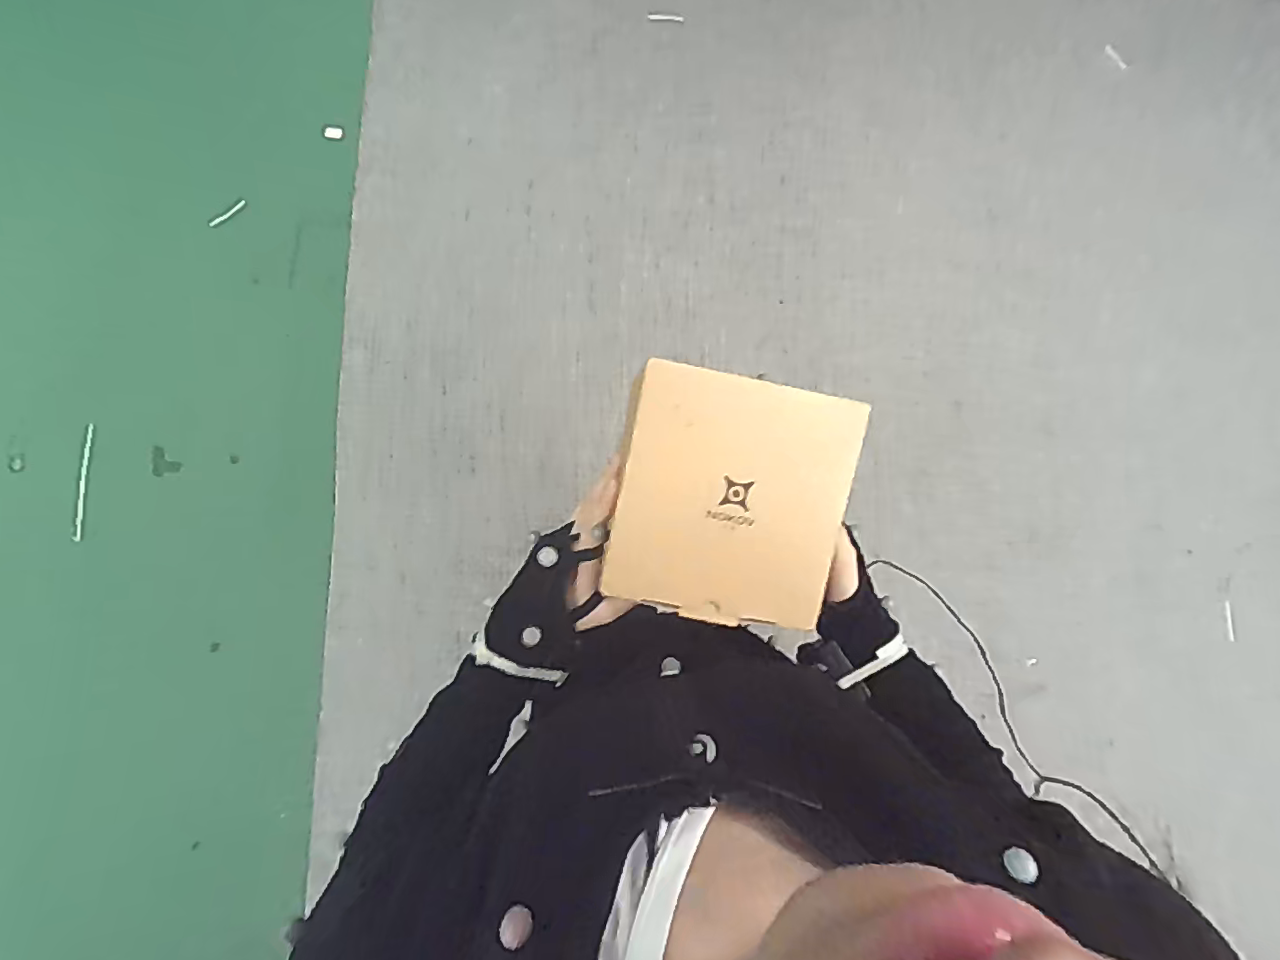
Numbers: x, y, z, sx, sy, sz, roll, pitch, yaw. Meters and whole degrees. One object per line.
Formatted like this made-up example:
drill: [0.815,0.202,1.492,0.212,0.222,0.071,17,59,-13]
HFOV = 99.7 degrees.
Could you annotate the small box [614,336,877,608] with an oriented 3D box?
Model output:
small box: [0.072,-0.011,0.475,0.168,0.176,0.179,11,97,-6]
